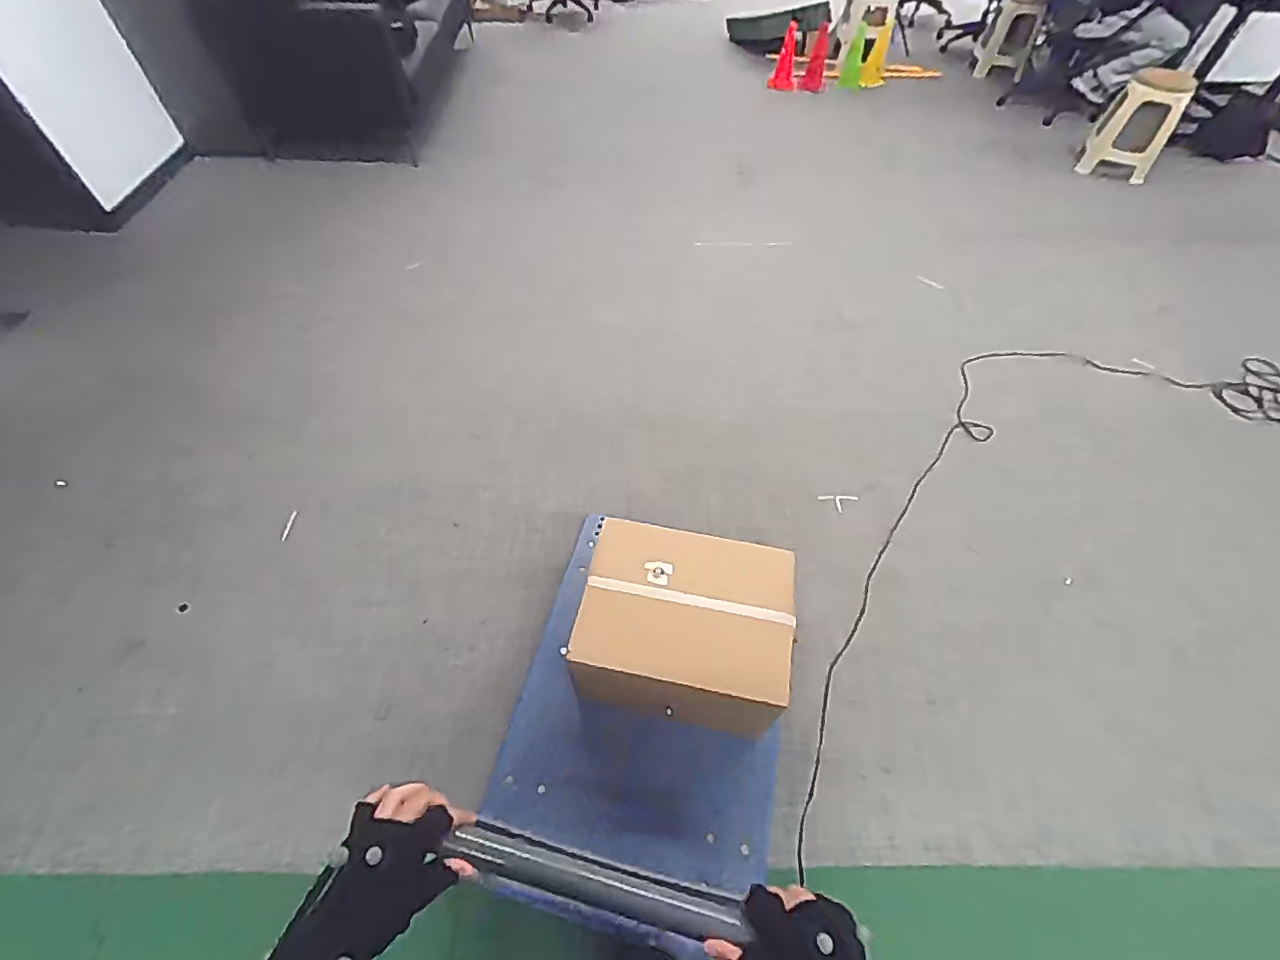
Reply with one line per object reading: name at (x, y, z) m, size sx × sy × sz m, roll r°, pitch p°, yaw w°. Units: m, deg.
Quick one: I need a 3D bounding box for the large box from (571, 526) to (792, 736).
large box at (0.097, 0.332, 1.170) m, size 0.408 × 0.320 × 0.320 m, roll 9°, pitch 53°, yaw 7°
